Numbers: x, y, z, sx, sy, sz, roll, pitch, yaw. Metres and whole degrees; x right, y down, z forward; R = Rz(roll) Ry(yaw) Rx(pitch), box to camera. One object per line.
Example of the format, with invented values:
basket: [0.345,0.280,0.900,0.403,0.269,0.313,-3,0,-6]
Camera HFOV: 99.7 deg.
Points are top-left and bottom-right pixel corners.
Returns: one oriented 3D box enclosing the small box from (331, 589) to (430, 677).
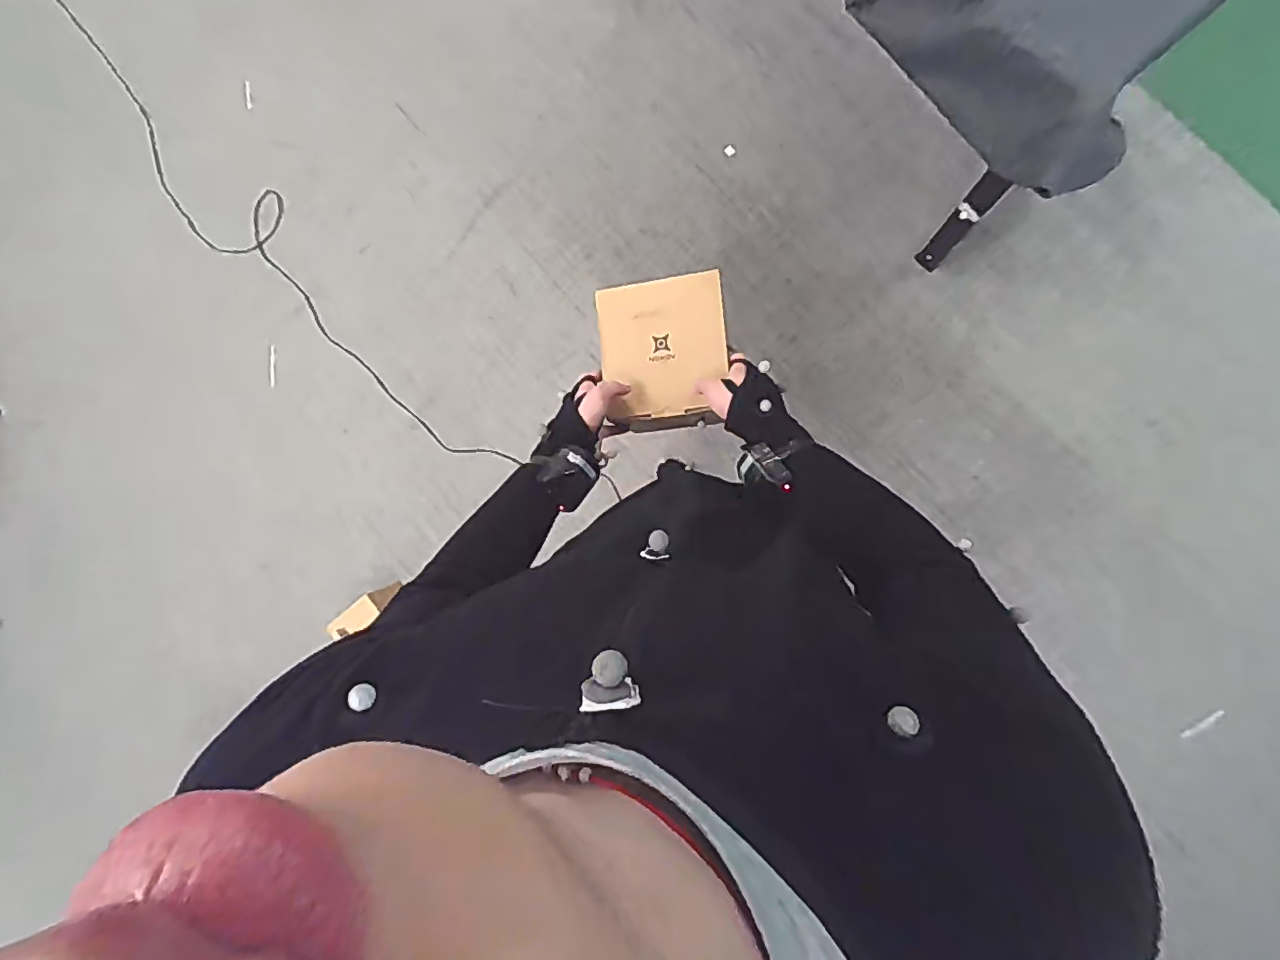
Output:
small box: [-0.785,0.461,1.651,0.179,0.176,0.168,-39,85,8]

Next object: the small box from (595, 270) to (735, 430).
small box: [0.044,-0.171,0.774,0.168,0.176,0.179,-6,86,11]

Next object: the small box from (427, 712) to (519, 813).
small box: [-0.483,0.826,1.604,0.179,0.176,0.168,-39,84,9]
